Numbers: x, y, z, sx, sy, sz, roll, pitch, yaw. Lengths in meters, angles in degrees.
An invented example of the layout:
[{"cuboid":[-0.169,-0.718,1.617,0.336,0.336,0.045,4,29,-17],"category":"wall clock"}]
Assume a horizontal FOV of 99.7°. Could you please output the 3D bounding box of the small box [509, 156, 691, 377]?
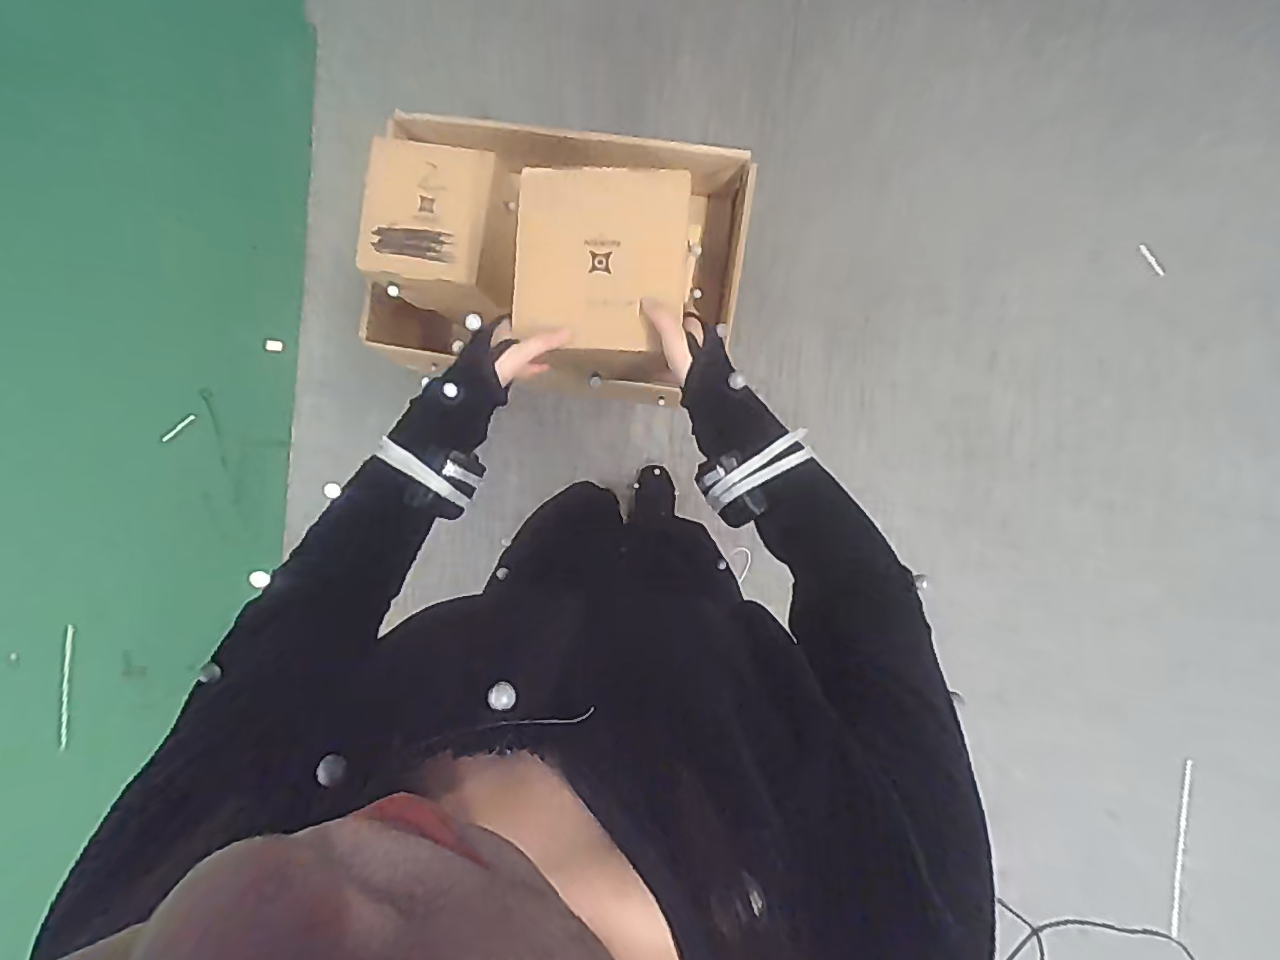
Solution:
[{"cuboid":[-0.034,-0.220,0.595,0.168,0.176,0.179,4,91,5],"category":"small box"}]
